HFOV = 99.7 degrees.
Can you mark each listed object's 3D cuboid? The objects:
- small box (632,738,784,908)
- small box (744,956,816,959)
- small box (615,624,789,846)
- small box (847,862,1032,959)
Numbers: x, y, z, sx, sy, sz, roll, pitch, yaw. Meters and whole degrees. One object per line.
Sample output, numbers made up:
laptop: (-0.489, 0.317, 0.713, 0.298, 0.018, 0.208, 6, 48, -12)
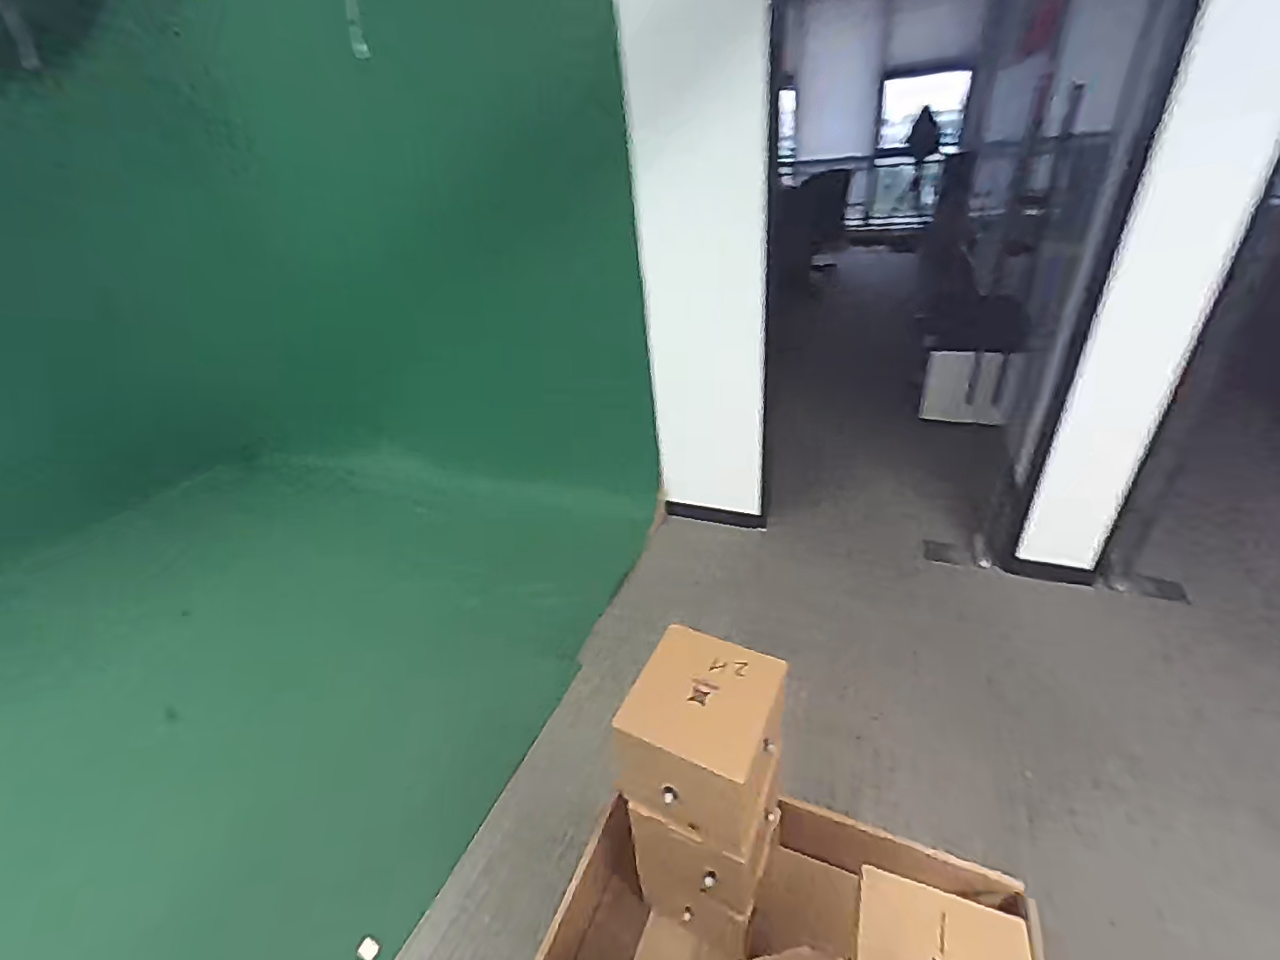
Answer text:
small box: (0.105, 0.471, 0.792, 0.168, 0.176, 0.179, 12, 36, 25)
small box: (0.157, 0.465, 0.370, 0.179, 0.176, 0.168, 0, 57, 33)
small box: (0.088, 0.330, 0.710, 0.168, 0.176, 0.179, 14, 37, 26)
small box: (0.315, 0.573, 0.585, 0.168, 0.176, 0.179, 8, 35, 22)
